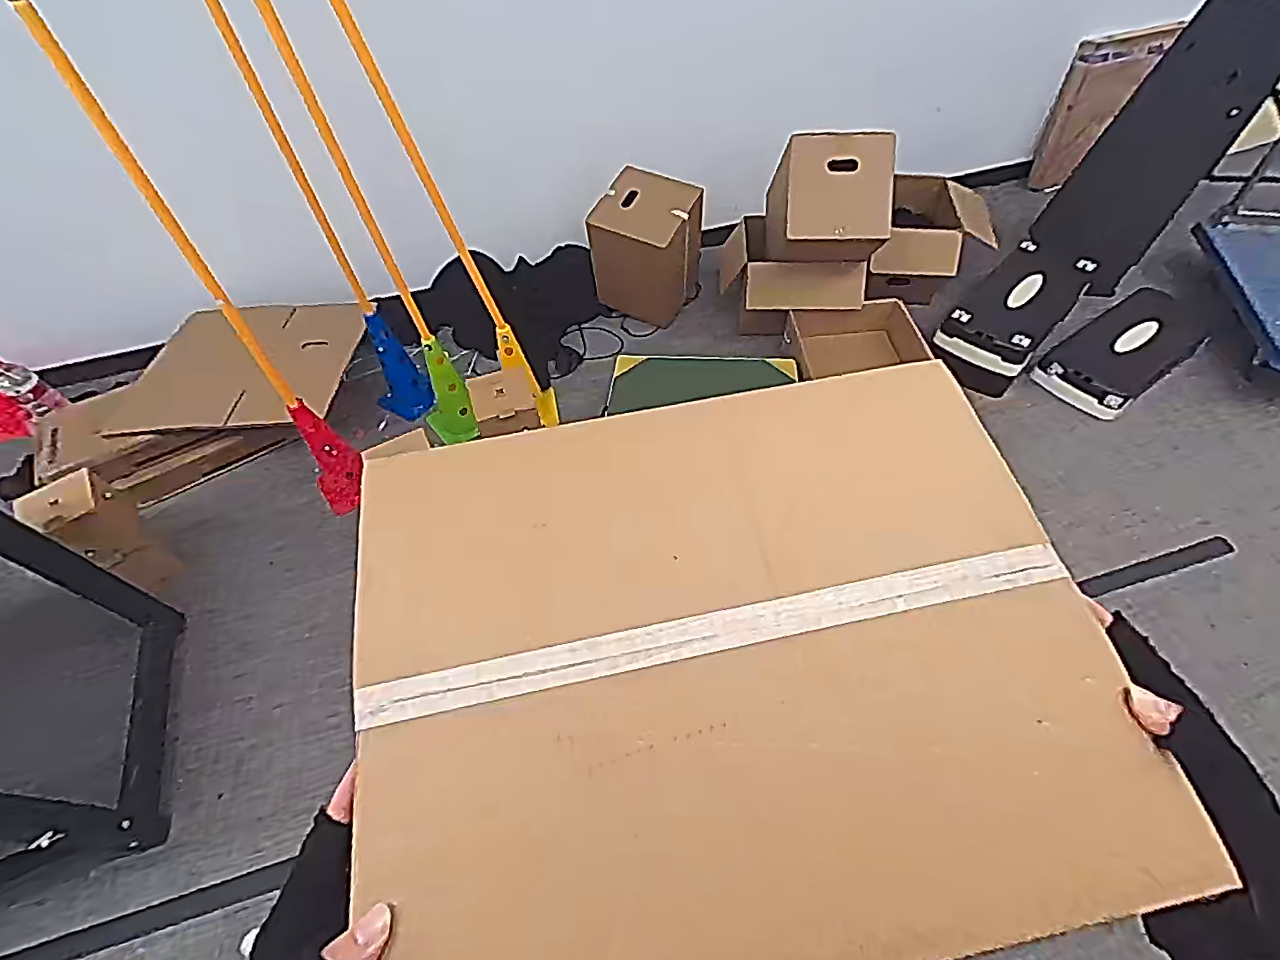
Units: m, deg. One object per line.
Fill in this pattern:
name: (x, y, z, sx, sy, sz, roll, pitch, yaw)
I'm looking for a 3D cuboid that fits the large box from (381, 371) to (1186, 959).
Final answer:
large box: (0.051, 0.158, 0.451, 0.408, 0.320, 0.320, -11, 64, -4)
